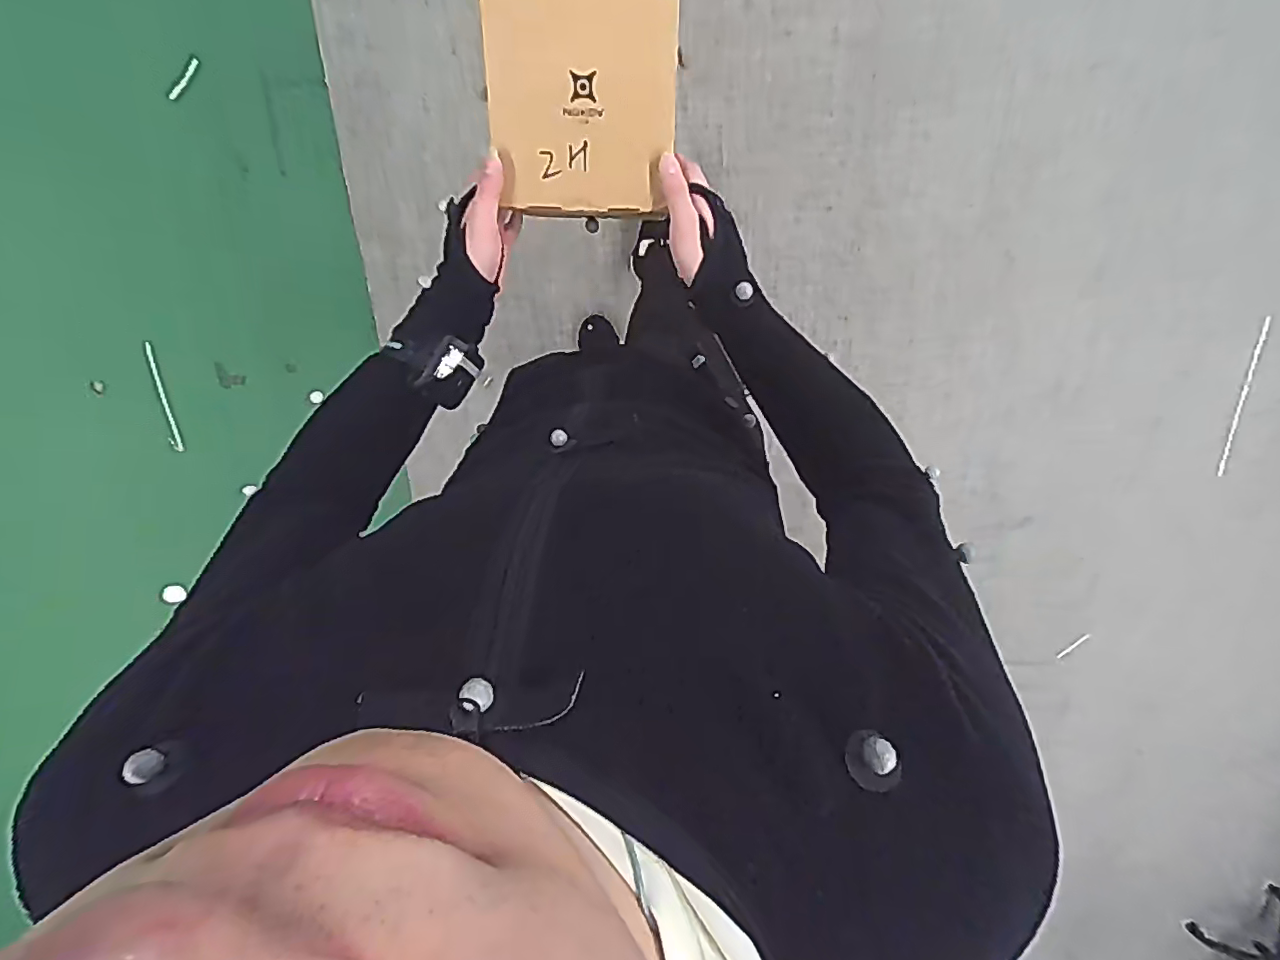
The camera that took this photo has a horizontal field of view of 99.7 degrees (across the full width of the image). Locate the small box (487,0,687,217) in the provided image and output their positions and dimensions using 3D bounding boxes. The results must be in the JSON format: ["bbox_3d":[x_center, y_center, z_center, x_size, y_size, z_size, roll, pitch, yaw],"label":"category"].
[{"bbox_3d":[-0.047,-0.365,0.535,0.168,0.176,0.179,1,114,-1],"label":"small box"}]

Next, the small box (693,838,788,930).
[{"bbox_3d":[0.204,0.883,1.131,0.168,0.176,0.179,-5,111,0],"label":"small box"}]

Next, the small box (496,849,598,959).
[{"bbox_3d":[-0.185,0.911,1.130,0.179,0.176,0.168,-4,110,0],"label":"small box"}]

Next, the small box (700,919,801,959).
[{"bbox_3d":[0.208,0.935,0.977,0.179,0.176,0.168,-5,109,1],"label":"small box"}]
